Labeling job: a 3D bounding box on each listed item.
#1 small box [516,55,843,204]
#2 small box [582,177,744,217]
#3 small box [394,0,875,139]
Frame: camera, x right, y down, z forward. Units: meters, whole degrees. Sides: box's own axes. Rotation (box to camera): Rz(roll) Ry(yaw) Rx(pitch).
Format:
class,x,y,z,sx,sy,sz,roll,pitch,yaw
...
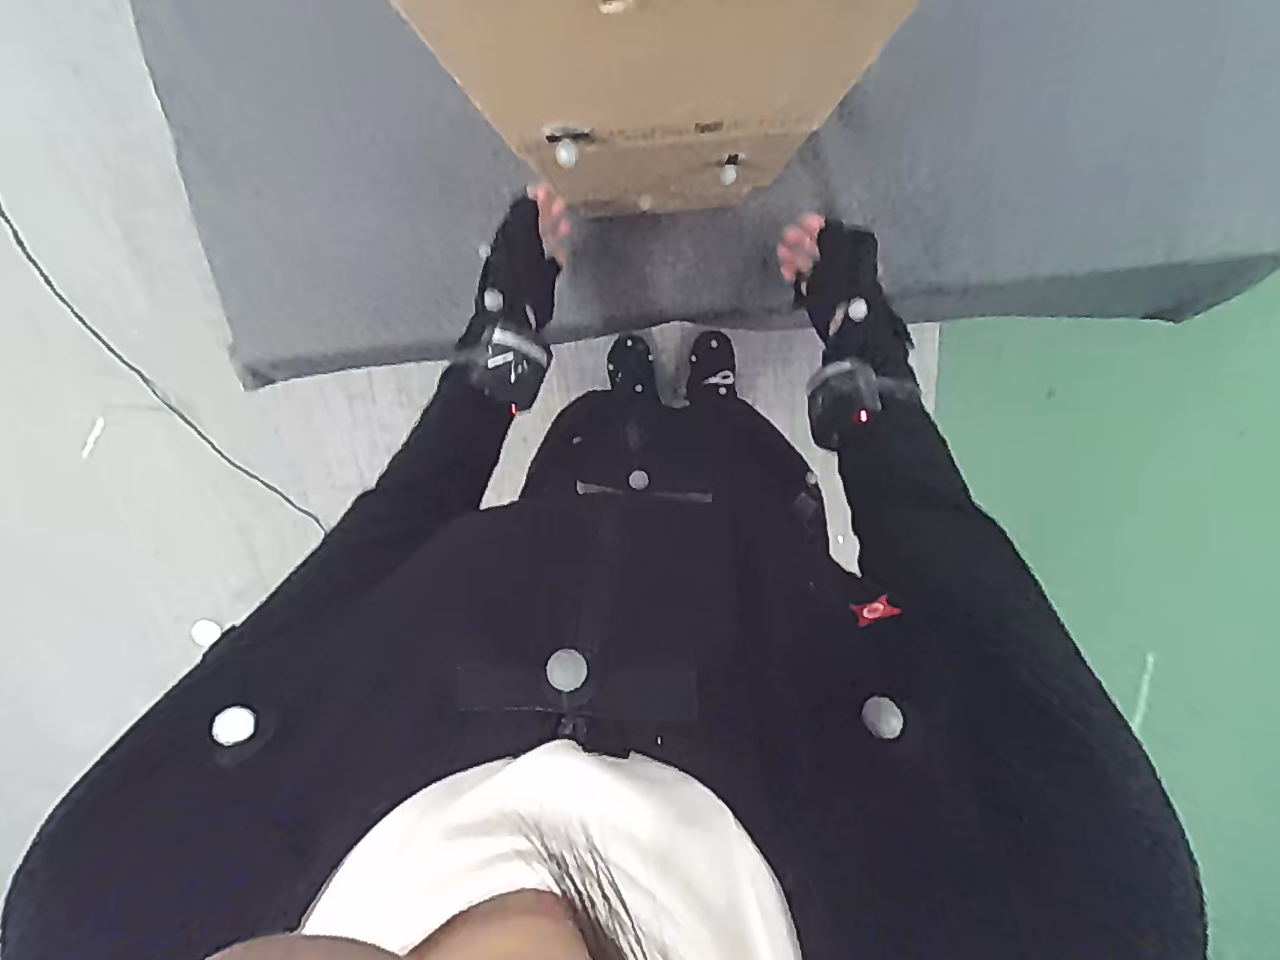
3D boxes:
class,x,y,z,sx,sy,sz,roll,pitch,yaw
small box,0.011,-0.289,0.340,0.179,0.176,0.168,-8,106,3
small box,0.013,-0.359,0.507,0.179,0.176,0.168,-6,105,3
small box,0.003,-0.247,0.198,0.168,0.176,0.179,-4,105,2
